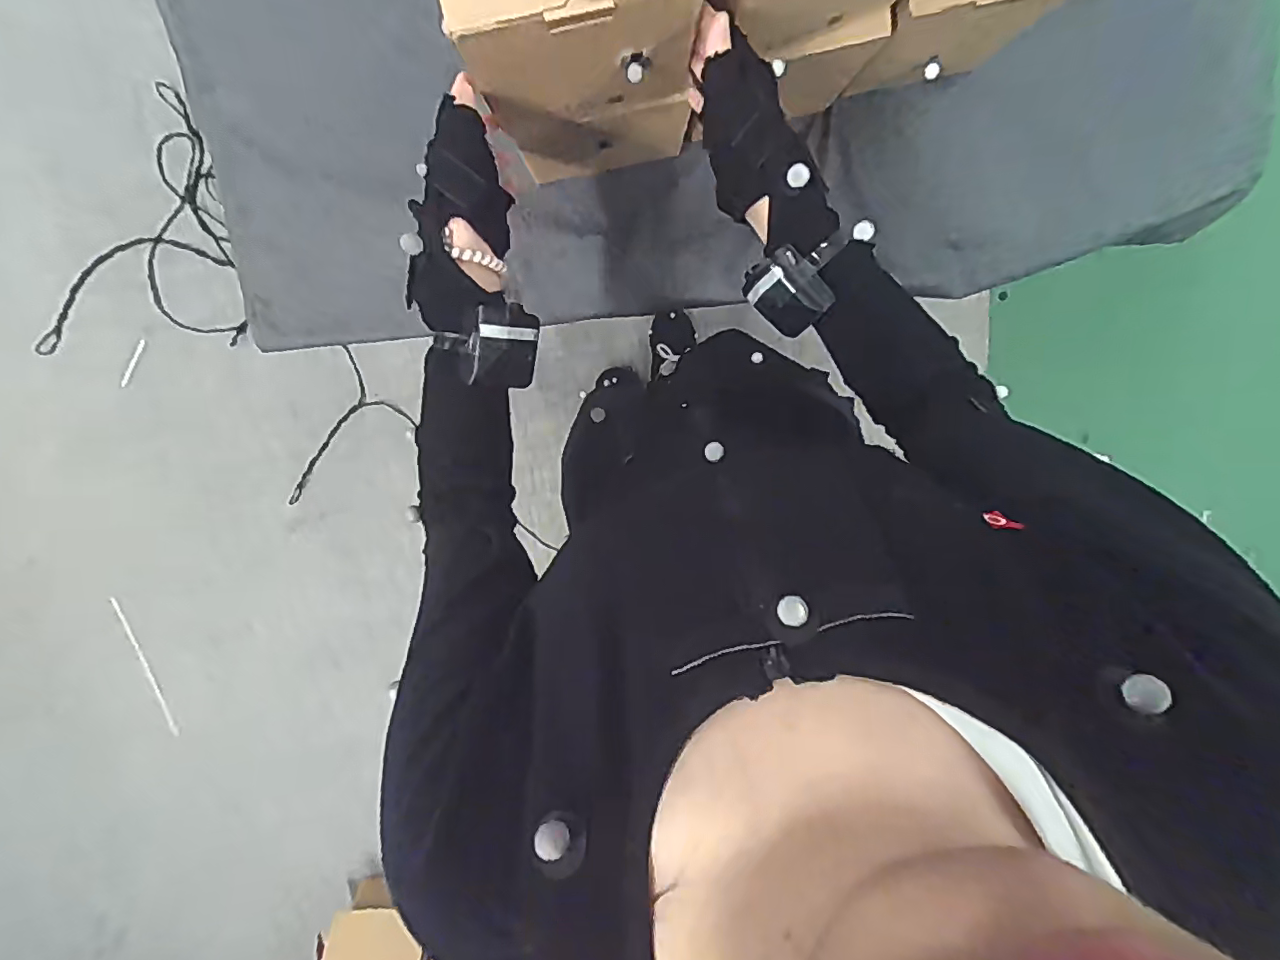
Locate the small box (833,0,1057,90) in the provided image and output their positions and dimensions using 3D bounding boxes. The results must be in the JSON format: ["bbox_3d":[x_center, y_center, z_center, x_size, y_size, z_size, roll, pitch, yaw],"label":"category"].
[{"bbox_3d":[0.297,-0.529,0.531,0.168,0.176,0.179,-10,105,2],"label":"small box"}]

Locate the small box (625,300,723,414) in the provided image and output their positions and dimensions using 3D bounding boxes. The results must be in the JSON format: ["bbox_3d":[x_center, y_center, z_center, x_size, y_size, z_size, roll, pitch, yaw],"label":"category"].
[{"bbox_3d":[0.081,-0.299,1.340,0.168,0.176,0.179,38,76,16],"label":"small box"}]
